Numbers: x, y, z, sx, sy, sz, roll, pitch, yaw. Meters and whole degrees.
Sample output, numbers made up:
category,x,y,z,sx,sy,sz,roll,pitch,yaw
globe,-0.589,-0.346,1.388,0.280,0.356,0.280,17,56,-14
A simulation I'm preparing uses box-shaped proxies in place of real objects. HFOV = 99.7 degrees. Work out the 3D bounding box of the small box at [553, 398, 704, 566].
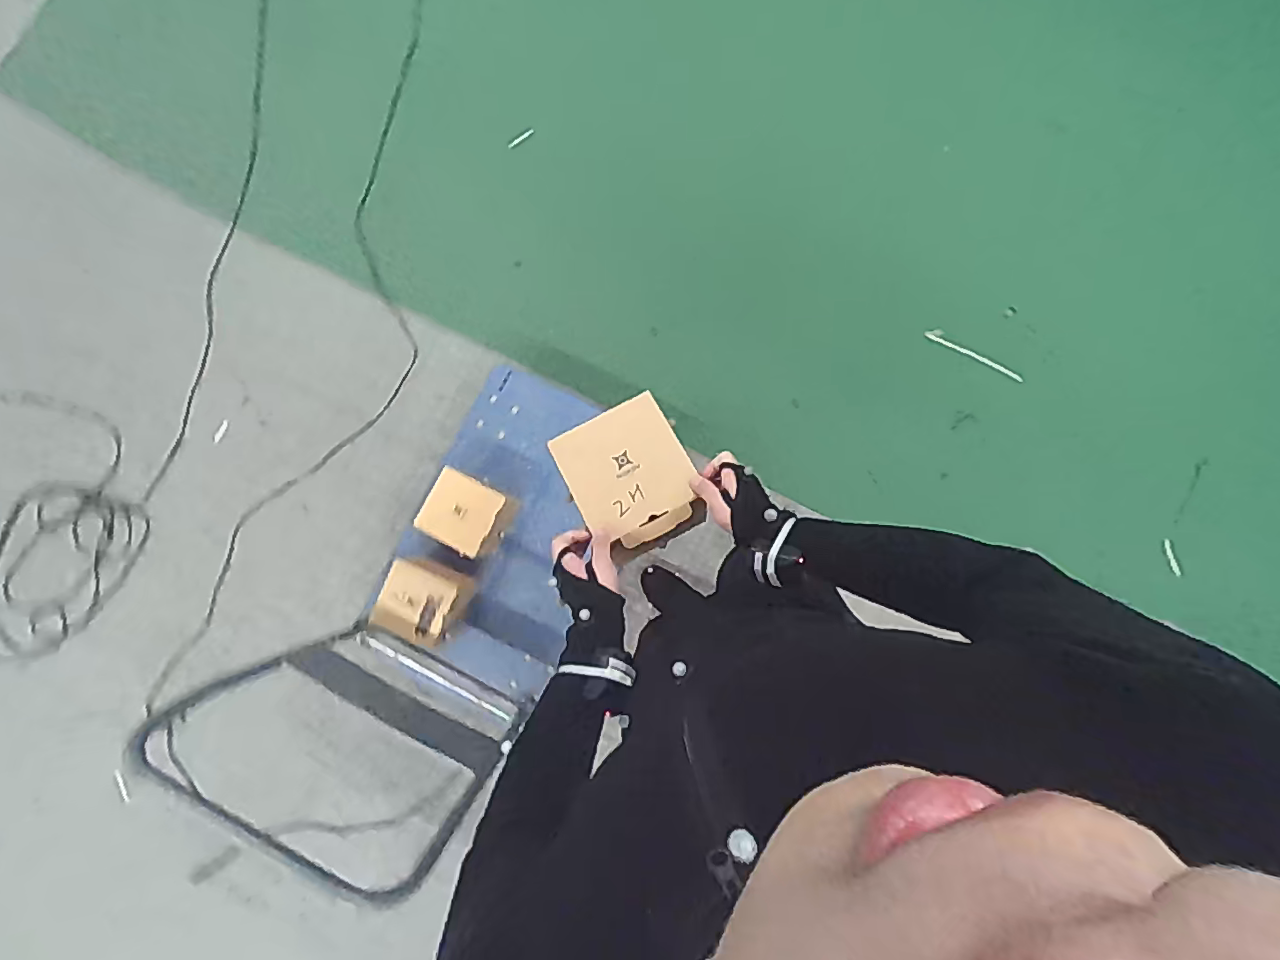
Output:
category,x,y,z,sx,sy,sz,roll,pitch,yaw
small box,-0.012,0.012,0.806,0.168,0.176,0.179,-21,72,1

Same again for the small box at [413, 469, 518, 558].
category,x,y,z,sx,sy,sz,roll,pitch,yaw
small box,-0.441,0.090,1.392,0.179,0.176,0.168,27,85,3
